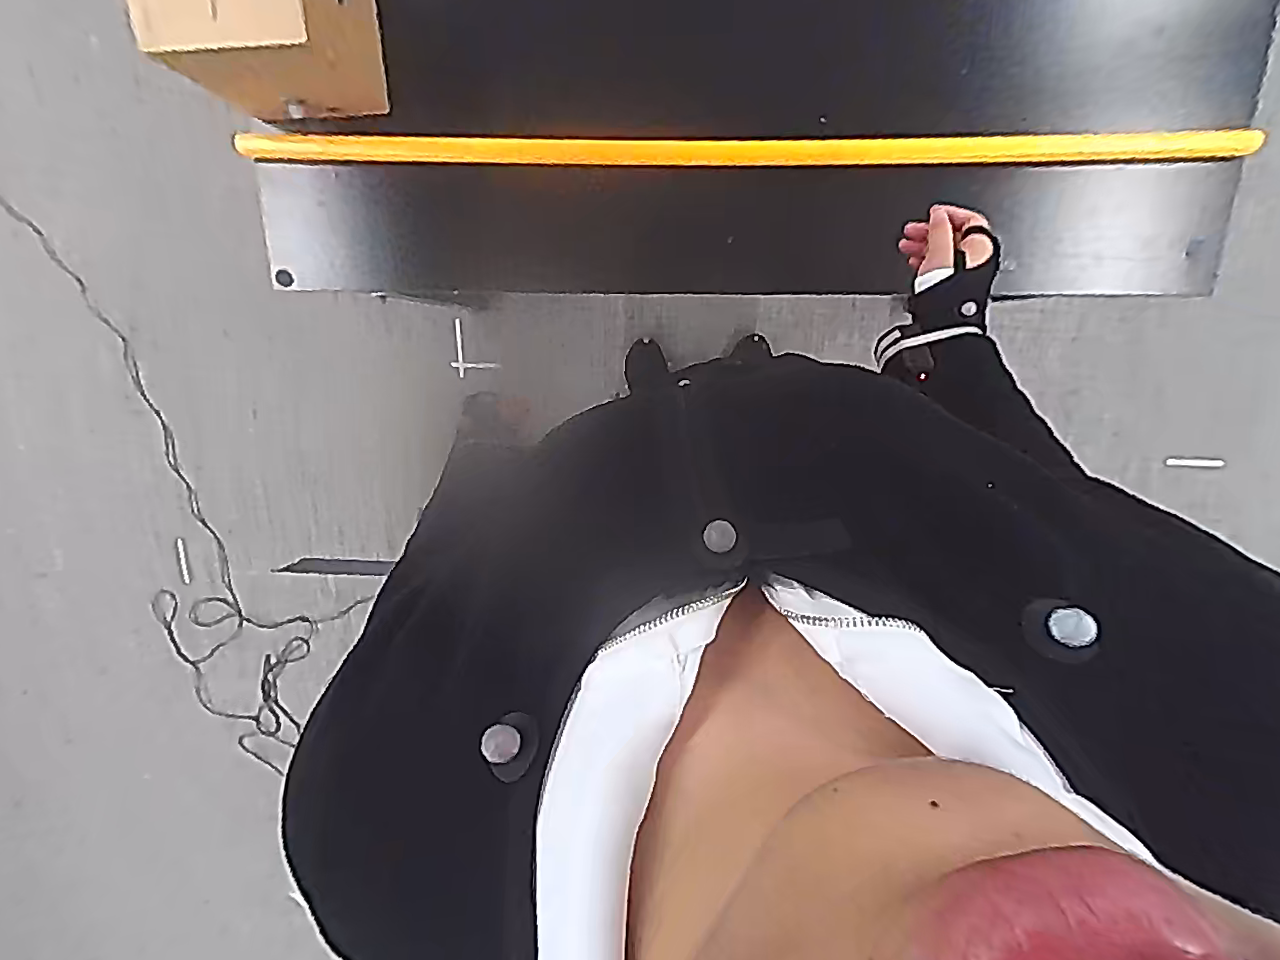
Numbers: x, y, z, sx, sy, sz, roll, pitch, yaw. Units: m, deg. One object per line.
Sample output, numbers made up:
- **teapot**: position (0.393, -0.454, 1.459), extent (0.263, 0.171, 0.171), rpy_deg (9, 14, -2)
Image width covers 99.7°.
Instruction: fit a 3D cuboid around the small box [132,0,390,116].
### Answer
- **small box**: position (-0.388, -0.515, 0.565), extent (0.168, 0.176, 0.179), rpy_deg (-2, 105, 2)
